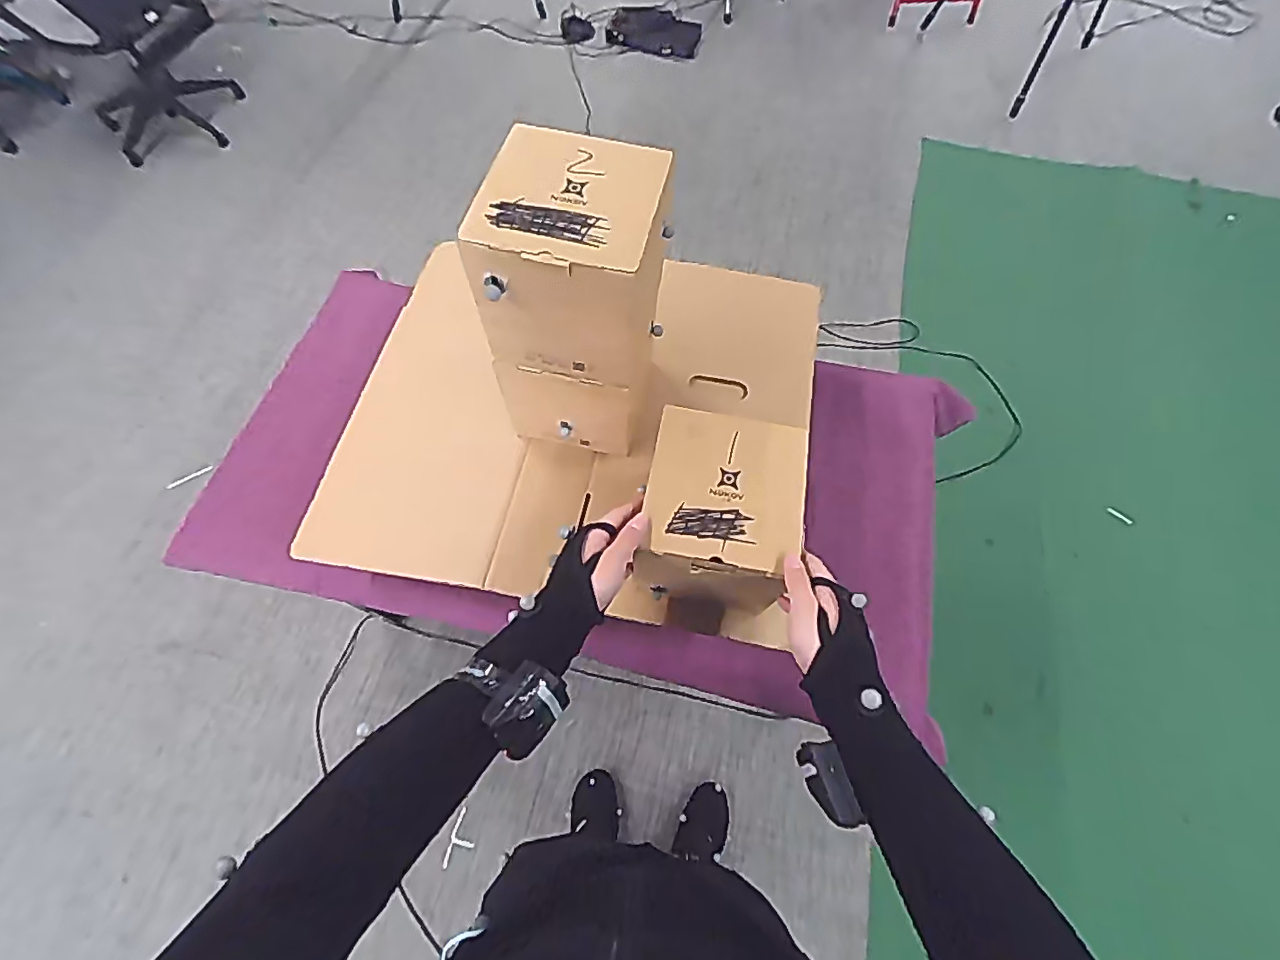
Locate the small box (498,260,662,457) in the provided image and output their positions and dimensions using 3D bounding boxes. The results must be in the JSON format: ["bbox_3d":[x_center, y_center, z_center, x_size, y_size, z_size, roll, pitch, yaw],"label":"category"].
[{"bbox_3d":[-0.073,-0.155,0.725,0.168,0.176,0.179,12,66,3],"label":"small box"}]

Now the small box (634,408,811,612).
[{"bbox_3d":[0.090,0.044,0.636,0.168,0.176,0.179,11,64,3],"label":"small box"}]
